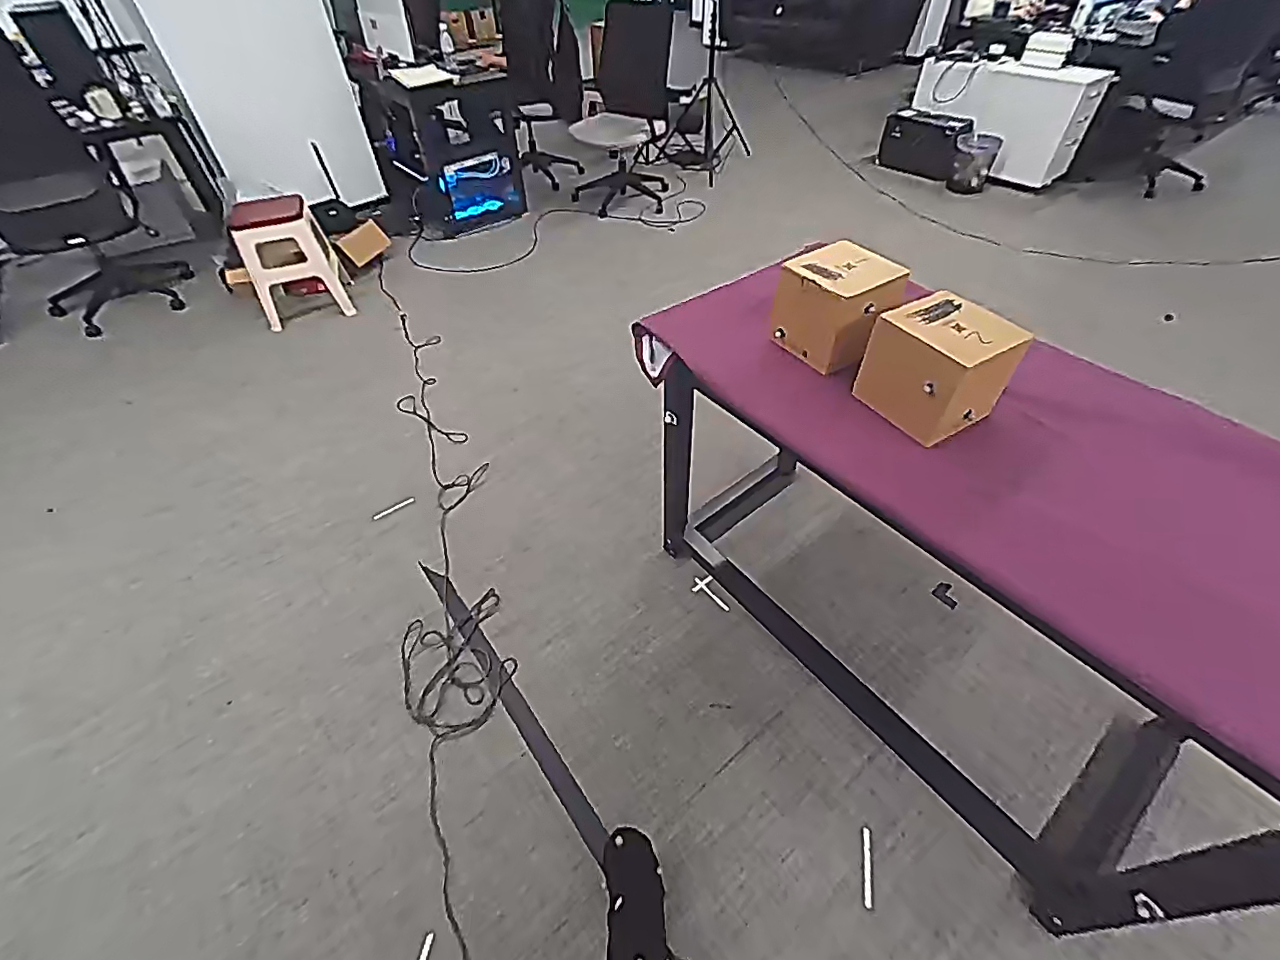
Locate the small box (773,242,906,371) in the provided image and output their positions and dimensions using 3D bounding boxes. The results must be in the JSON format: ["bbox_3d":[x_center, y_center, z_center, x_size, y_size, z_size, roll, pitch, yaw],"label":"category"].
[{"bbox_3d":[0.384,-0.343,1.079,0.179,0.176,0.168,-26,52,-21],"label":"small box"}]
